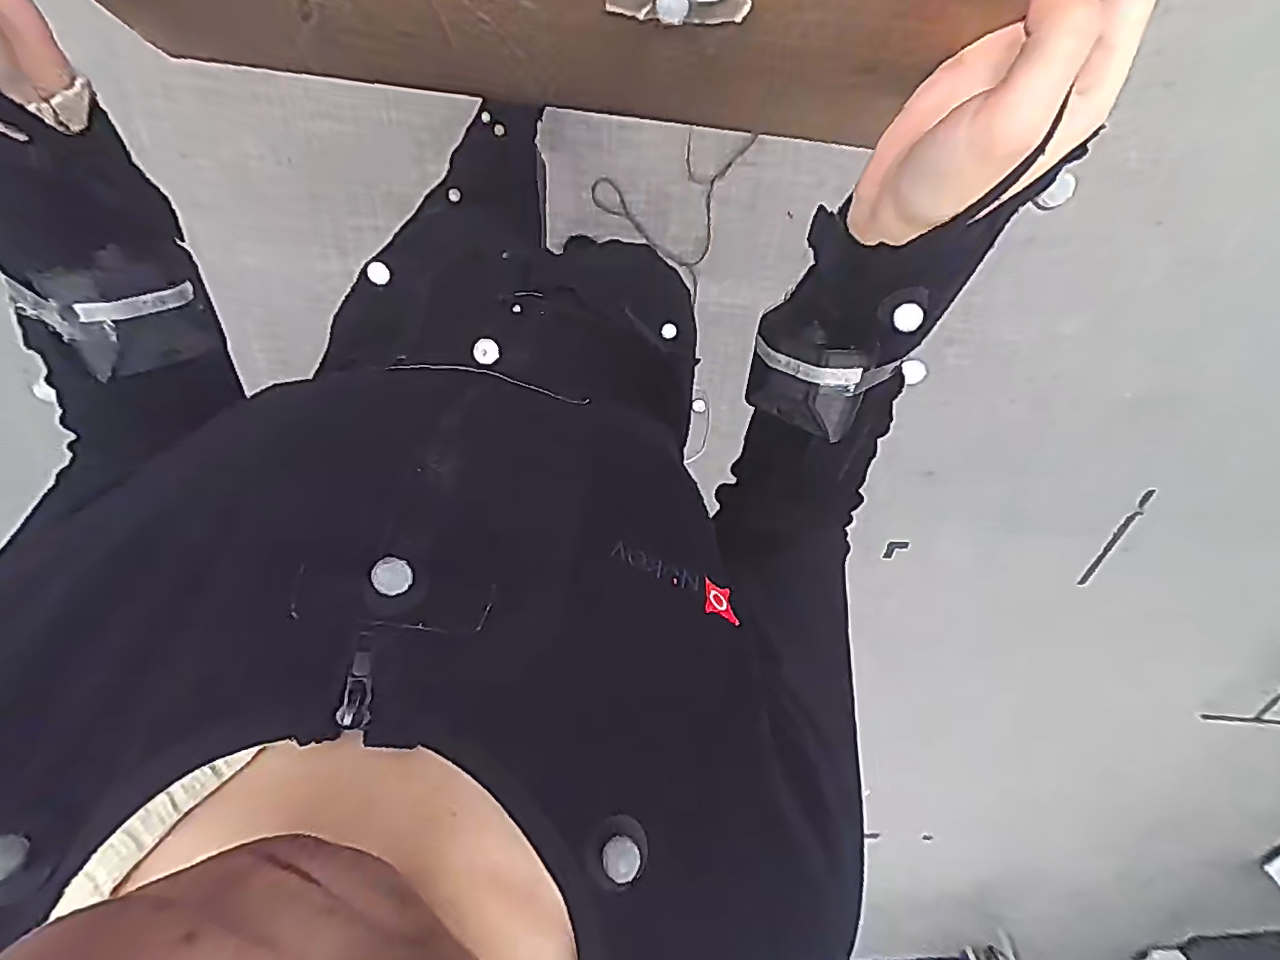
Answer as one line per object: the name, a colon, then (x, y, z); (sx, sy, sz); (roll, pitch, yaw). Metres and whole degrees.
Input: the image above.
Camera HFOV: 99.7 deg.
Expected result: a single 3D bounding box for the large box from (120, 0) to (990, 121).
large box: (-0.041, -0.354, 0.140); (0.408, 0.320, 0.320); (4, 98, -3)
